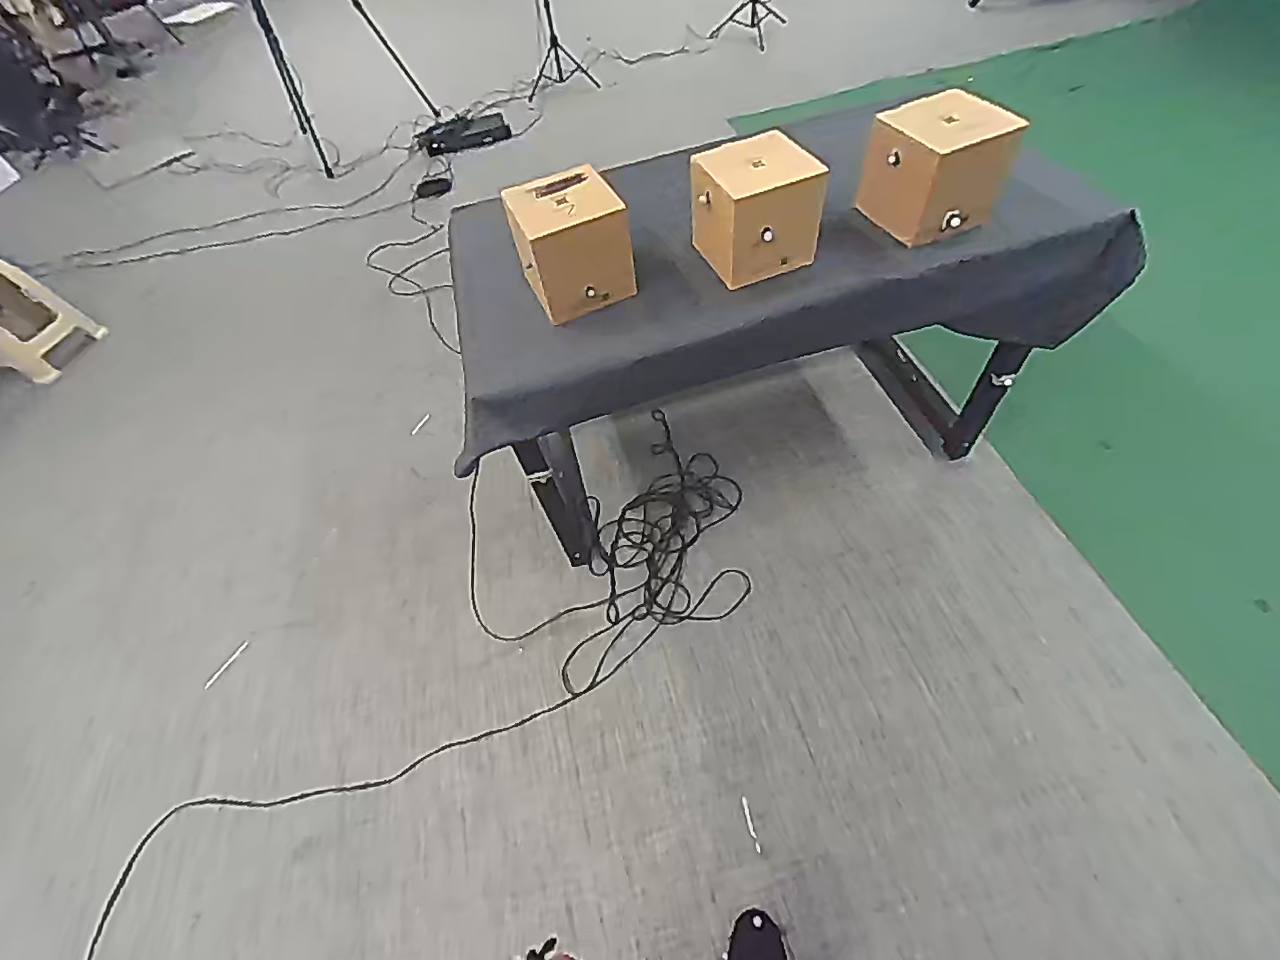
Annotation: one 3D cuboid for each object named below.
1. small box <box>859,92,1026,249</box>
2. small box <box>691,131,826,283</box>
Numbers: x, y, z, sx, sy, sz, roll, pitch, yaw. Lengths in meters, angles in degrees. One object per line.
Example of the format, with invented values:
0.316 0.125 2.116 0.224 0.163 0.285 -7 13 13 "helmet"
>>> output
0.517 -0.544 0.958 0.168 0.176 0.179 -22 56 -6 "small box"
0.200 -0.469 0.949 0.168 0.176 0.179 -20 54 -6 "small box"
